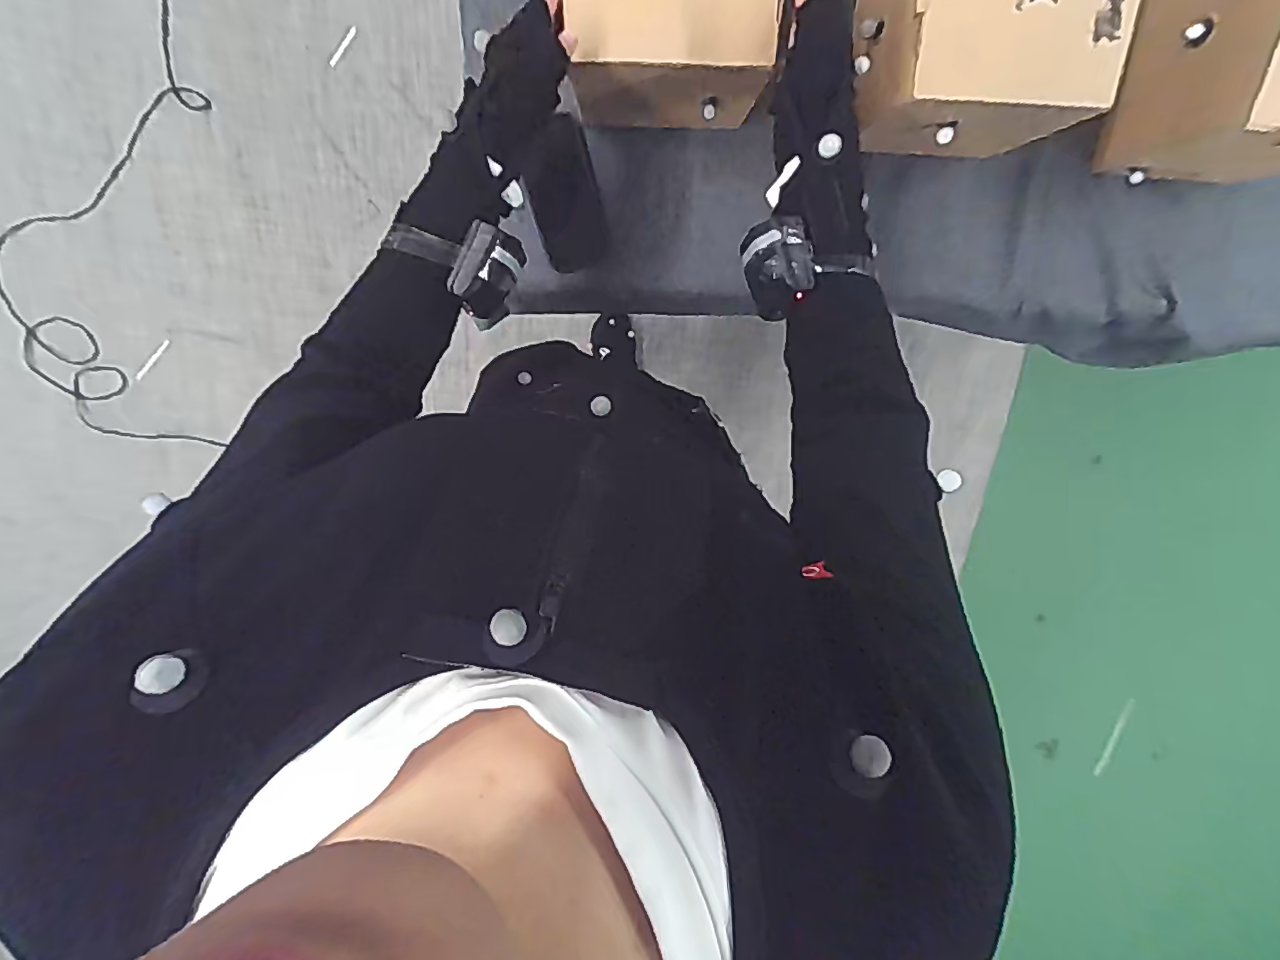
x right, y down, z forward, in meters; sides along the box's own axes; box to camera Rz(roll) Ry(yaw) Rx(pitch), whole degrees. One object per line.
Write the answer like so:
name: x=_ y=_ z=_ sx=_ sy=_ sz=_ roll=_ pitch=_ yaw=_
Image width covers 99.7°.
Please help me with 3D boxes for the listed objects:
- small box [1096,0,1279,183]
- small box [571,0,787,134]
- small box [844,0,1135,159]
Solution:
small box: x=0.599 y=-0.402 z=0.520 sx=0.168 sy=0.176 sz=0.179 roll=4 pitch=107 yaw=-2
small box: x=0.030 y=-0.439 z=0.500 sx=0.179 sy=0.176 sz=0.168 roll=0 pitch=107 yaw=0
small box: x=0.313 y=-0.418 z=0.510 sx=0.179 sy=0.176 sz=0.168 roll=2 pitch=108 yaw=-1
